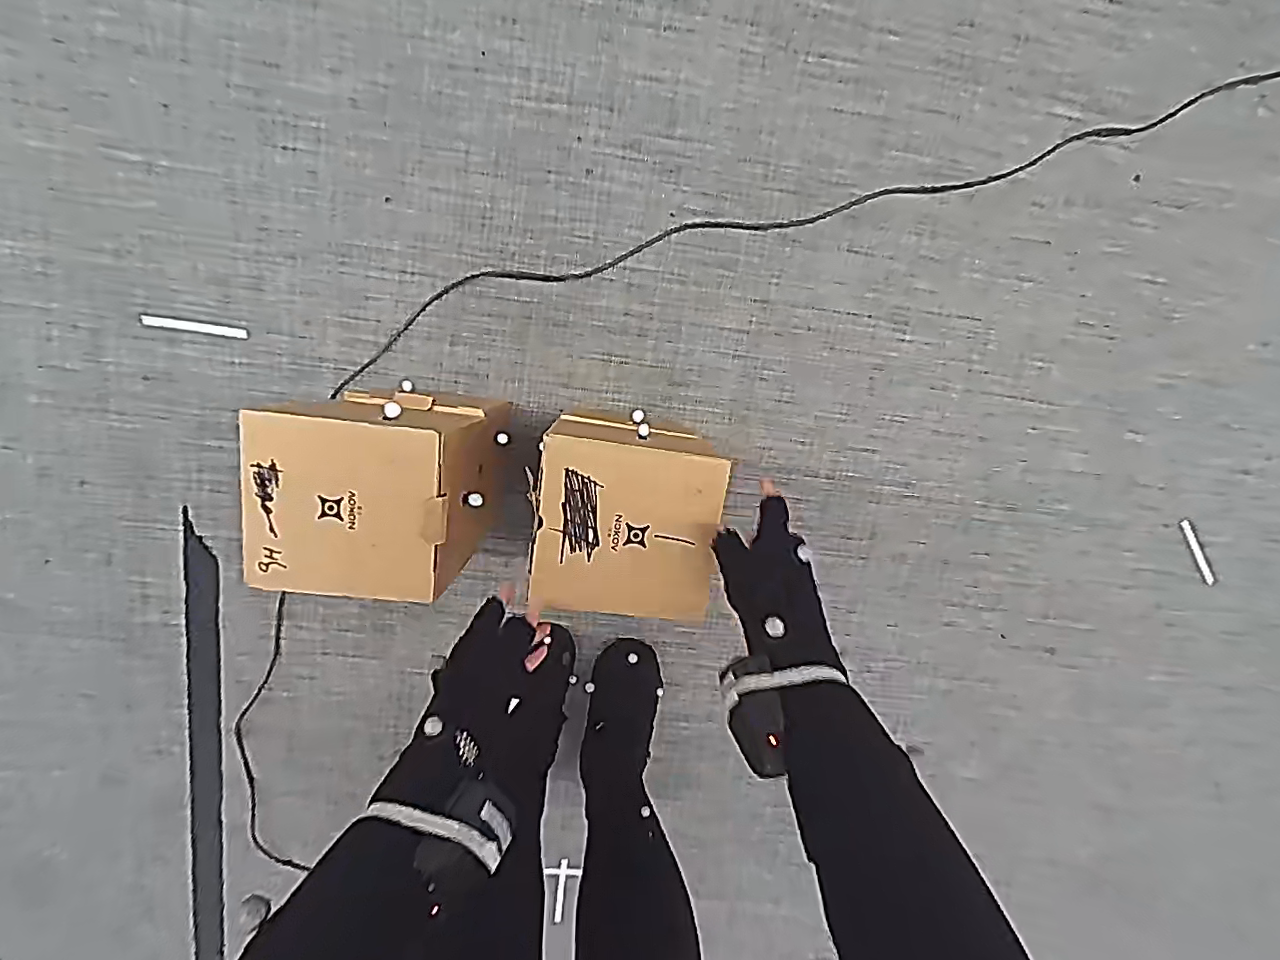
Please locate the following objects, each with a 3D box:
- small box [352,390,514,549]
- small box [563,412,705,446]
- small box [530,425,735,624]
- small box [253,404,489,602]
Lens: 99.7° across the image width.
[{"bbox_3d":[-0.271,-0.024,0.730,0.168,0.176,0.179,7,102,-3],"label":"small box"},{"bbox_3d":[-0.024,0.001,0.751,0.179,0.176,0.168,9,100,-6],"label":"small box"},{"bbox_3d":[-0.014,0.036,0.590,0.179,0.176,0.168,8,101,-6],"label":"small box"},{"bbox_3d":[-0.266,0.012,0.571,0.179,0.176,0.168,7,100,-4],"label":"small box"}]
